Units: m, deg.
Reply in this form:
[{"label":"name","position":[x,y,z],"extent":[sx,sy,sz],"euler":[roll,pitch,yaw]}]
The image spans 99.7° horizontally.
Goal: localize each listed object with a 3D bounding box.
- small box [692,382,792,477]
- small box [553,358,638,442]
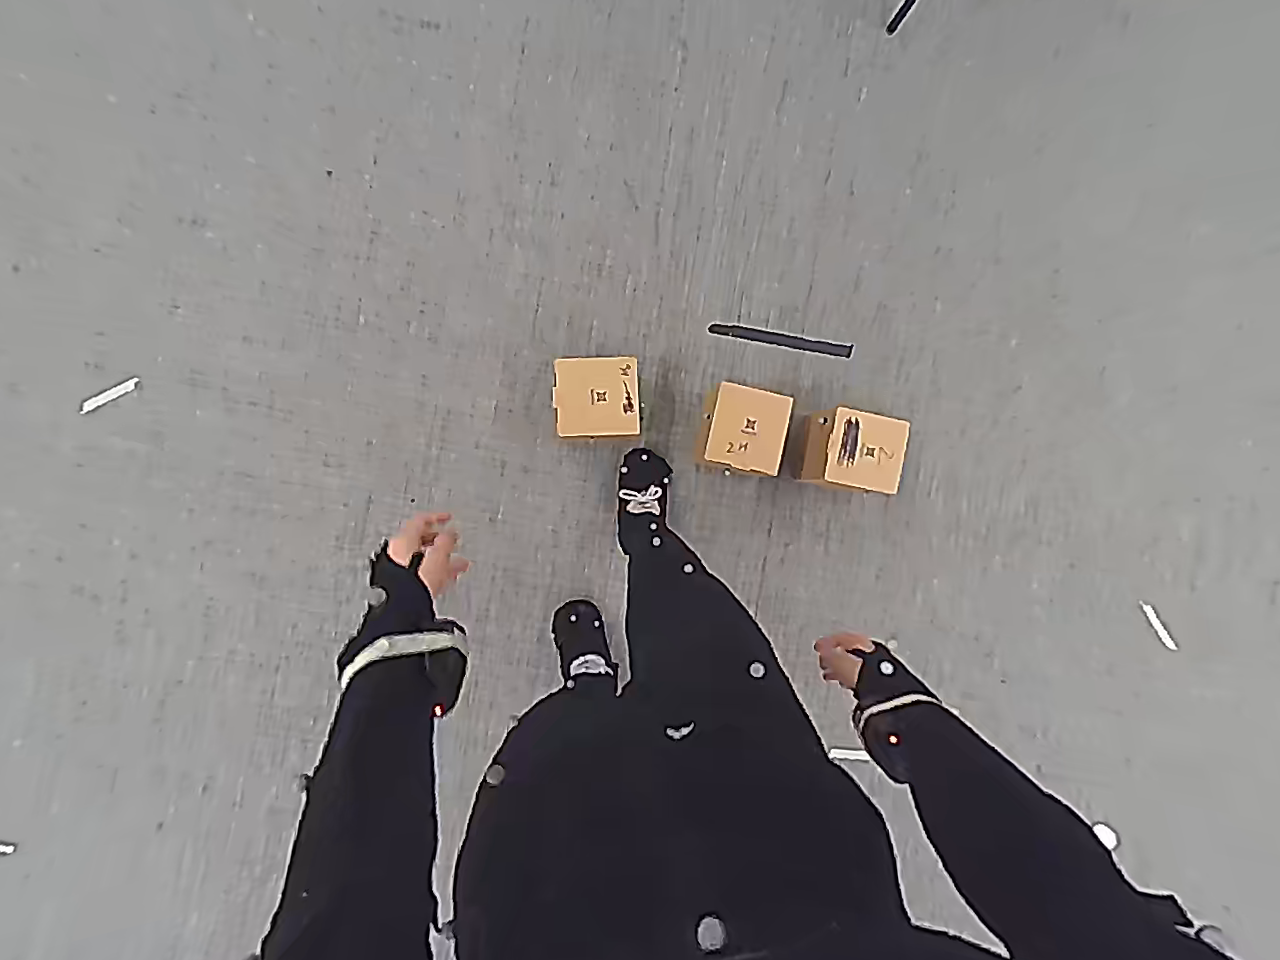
[{"label":"small box","position":[0.225,-0.108,1.235],"extent":[0.168,0.176,0.179],"euler":[13,89,-4]},{"label":"small box","position":[-0.096,-0.172,1.208],"extent":[0.179,0.176,0.168],"euler":[-2,91,-4]}]
